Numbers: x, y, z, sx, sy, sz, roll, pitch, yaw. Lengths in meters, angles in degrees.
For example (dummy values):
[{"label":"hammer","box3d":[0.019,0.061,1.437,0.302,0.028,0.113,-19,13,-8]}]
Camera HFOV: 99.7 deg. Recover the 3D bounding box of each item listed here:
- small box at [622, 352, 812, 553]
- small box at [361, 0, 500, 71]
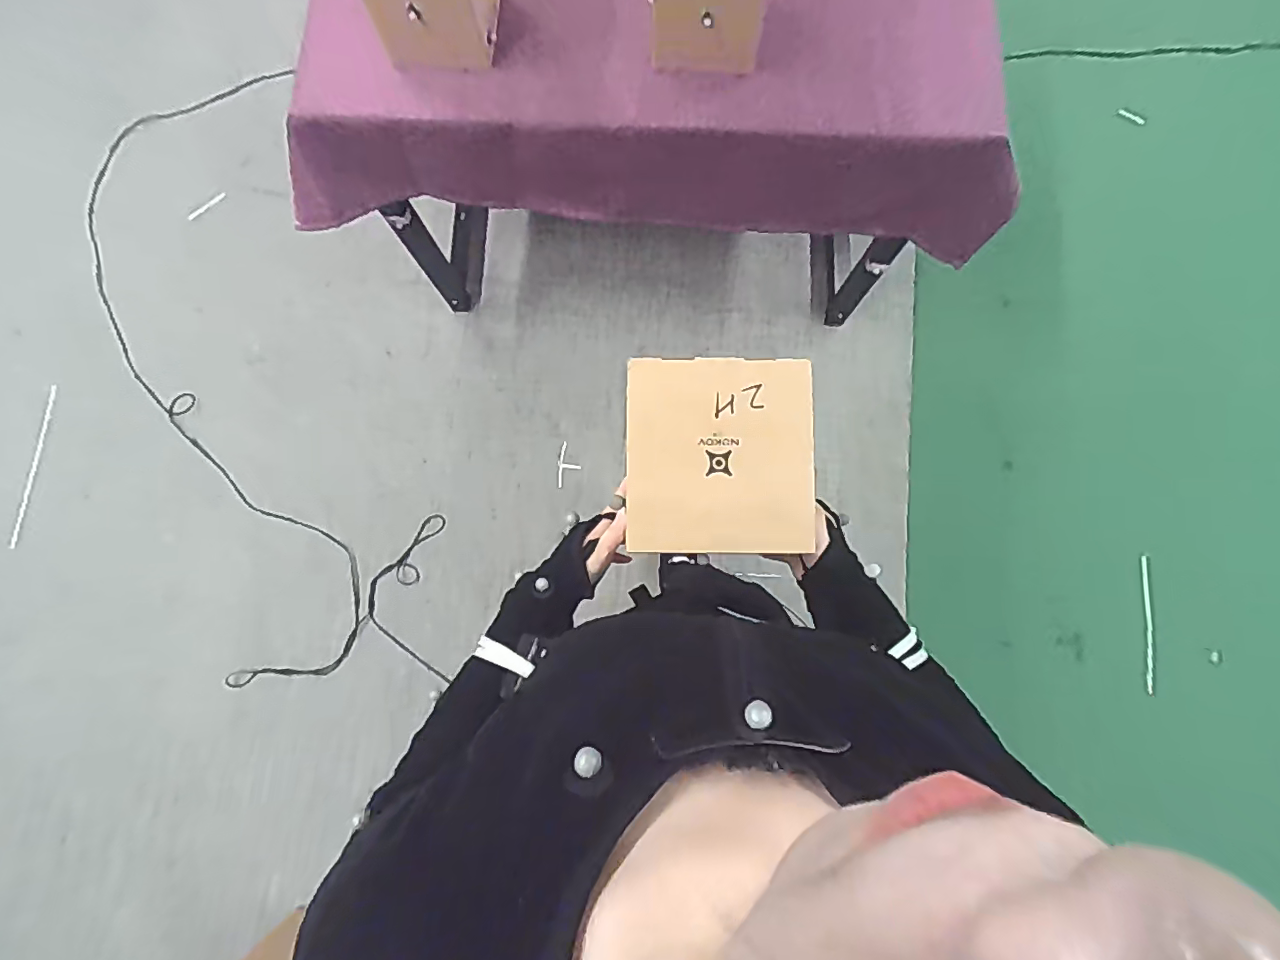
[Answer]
[{"label":"small box","box3d":[0.069,-0.019,0.554,0.168,0.176,0.179,1,84,0]},{"label":"small box","box3d":[-0.333,-0.797,0.864,0.179,0.176,0.168,4,80,1]}]
